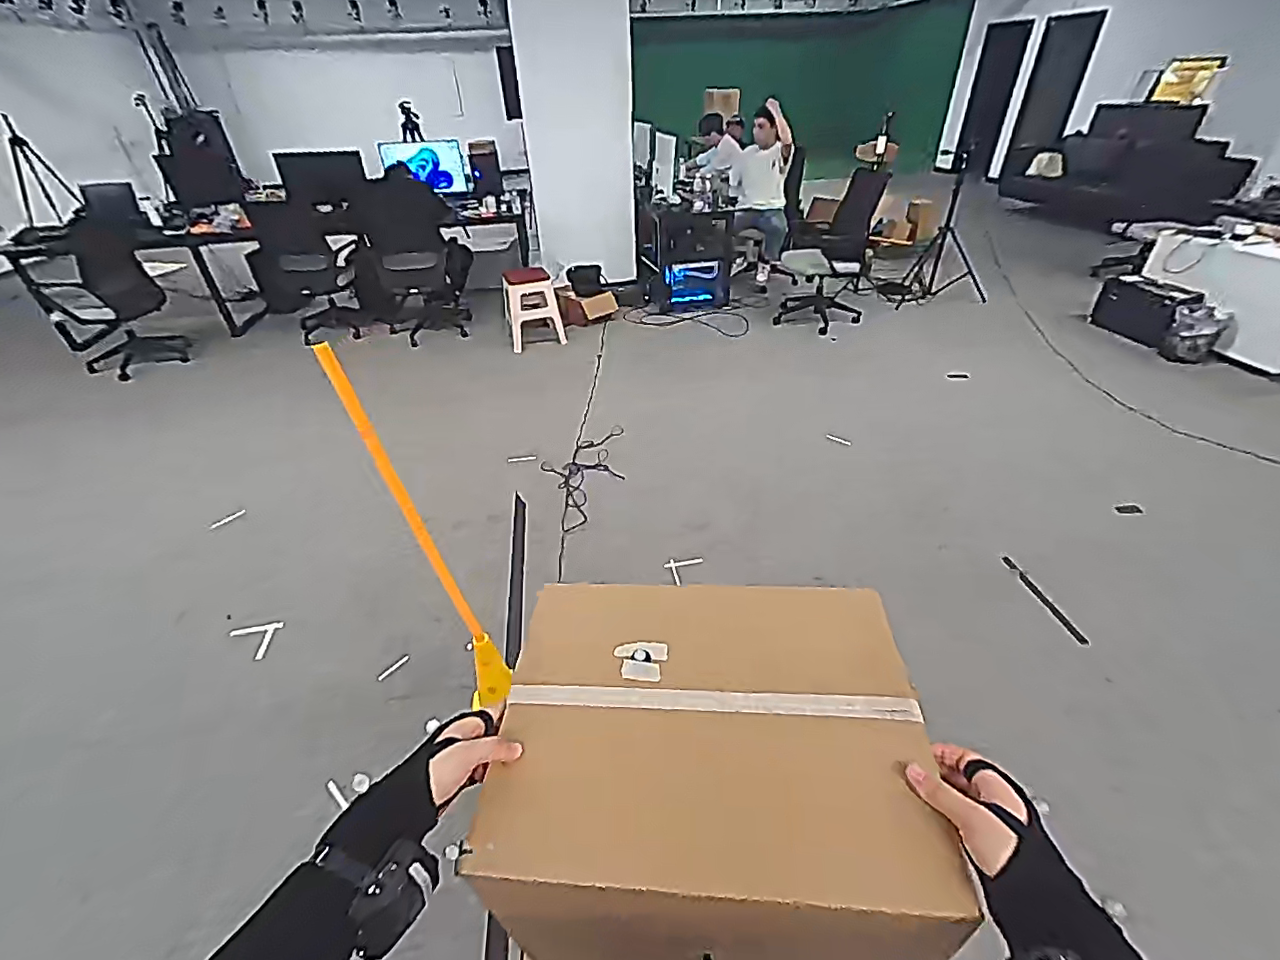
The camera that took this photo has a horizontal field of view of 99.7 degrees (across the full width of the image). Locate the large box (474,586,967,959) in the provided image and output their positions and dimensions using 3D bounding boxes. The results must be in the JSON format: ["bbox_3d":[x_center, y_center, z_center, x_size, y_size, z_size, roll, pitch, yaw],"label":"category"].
[{"bbox_3d":[0.084,0.346,0.639,0.408,0.320,0.320,-2,36,8],"label":"large box"}]
